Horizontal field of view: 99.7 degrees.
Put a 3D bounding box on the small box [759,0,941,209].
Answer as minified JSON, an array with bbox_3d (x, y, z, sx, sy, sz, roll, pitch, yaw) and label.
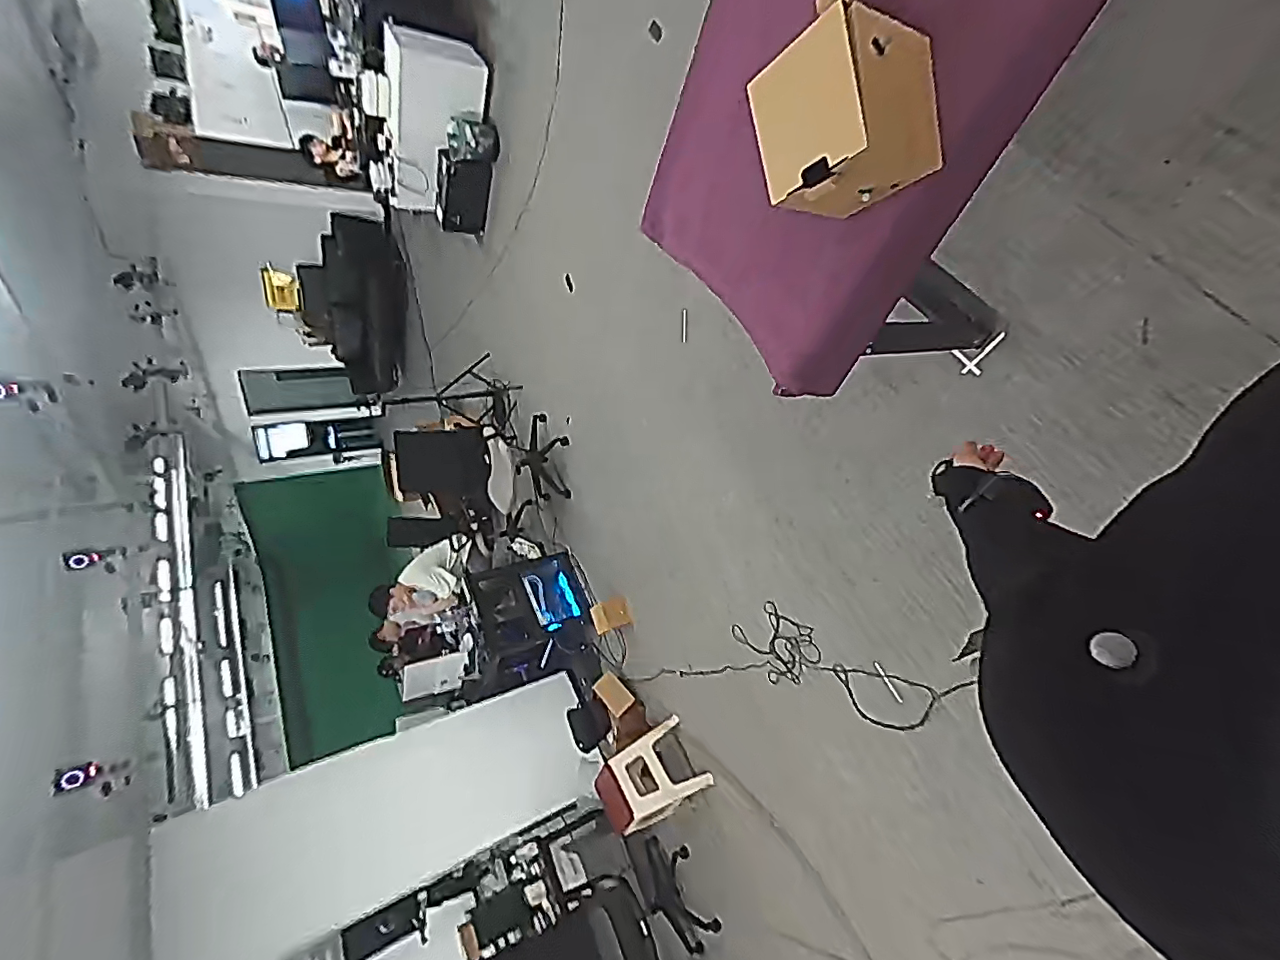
[{"bbox_3d":[0.294,-0.510,0.760,0.168,0.176,0.179,-1,97,59],"label":"small box"}]
